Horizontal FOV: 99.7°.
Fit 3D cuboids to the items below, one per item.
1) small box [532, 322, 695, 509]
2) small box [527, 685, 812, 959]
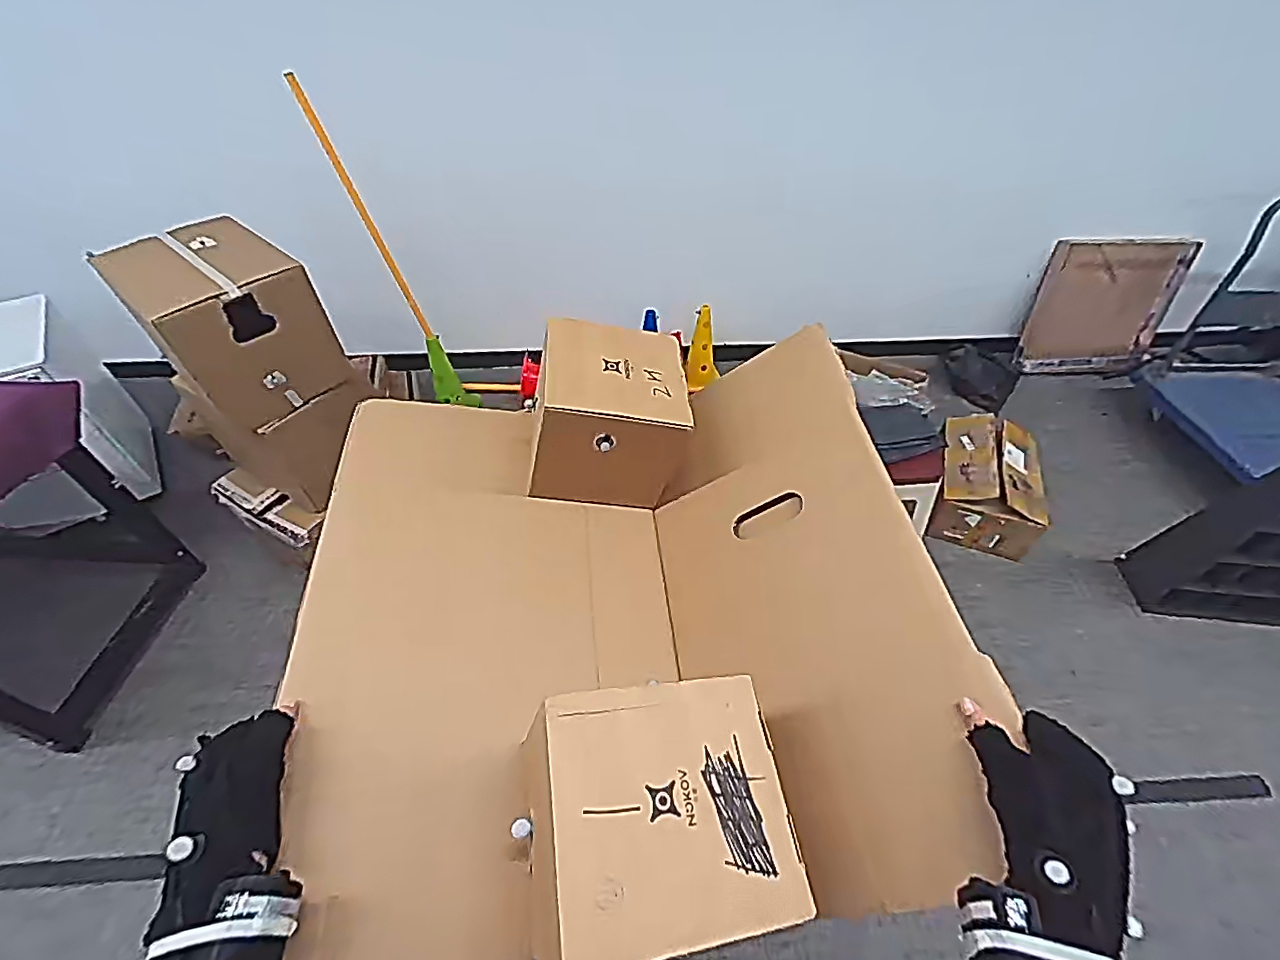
[{"bbox_3d":[-0.043,-0.077,0.712,0.179,0.176,0.168,7,52,-14],"label":"small box"},{"bbox_3d":[0.004,0.281,0.448,0.179,0.176,0.168,1,54,-17],"label":"small box"}]
